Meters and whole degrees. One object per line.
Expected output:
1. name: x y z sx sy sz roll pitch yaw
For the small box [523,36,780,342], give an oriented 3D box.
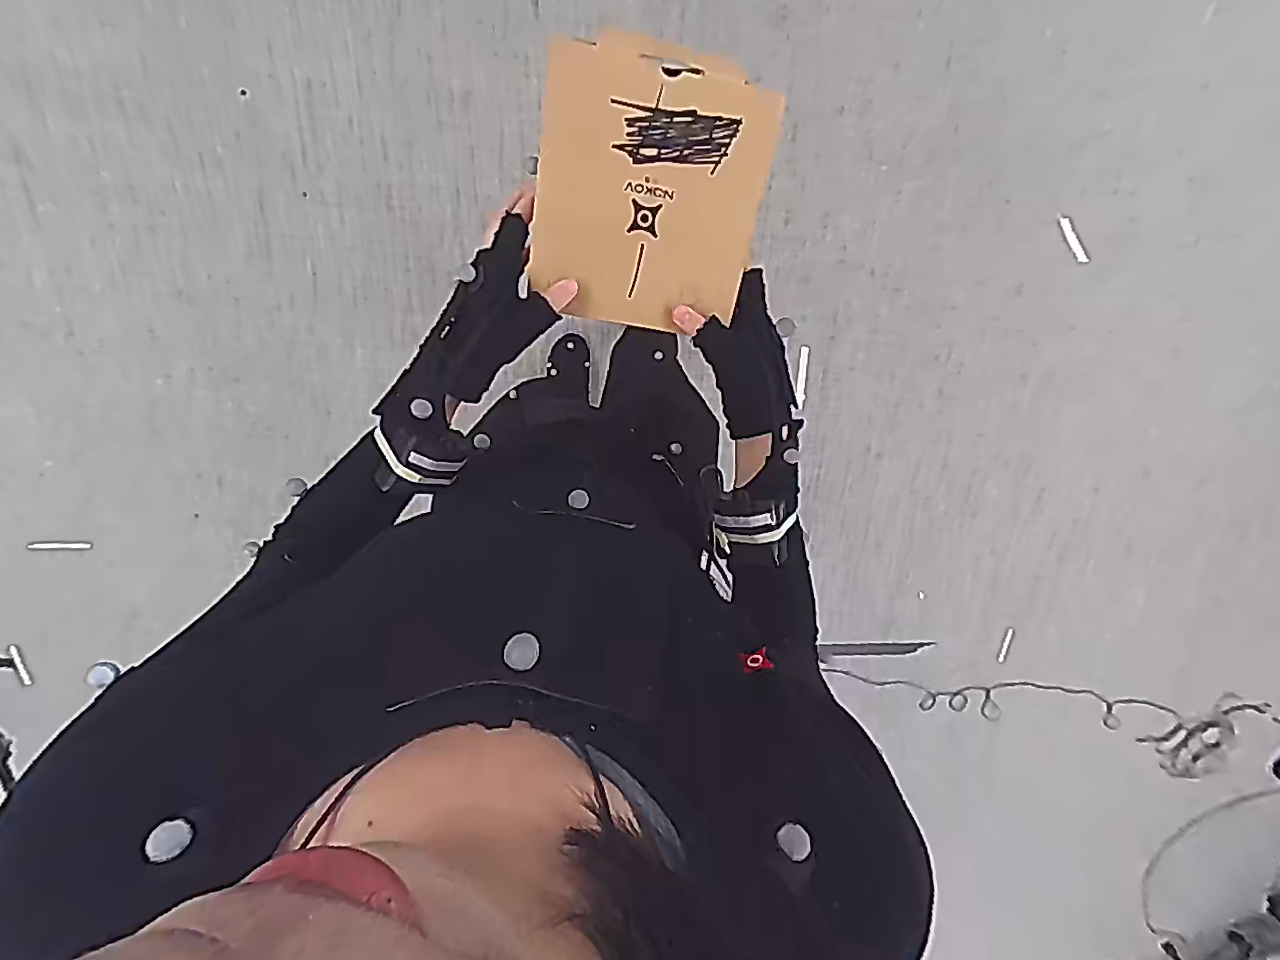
1. small box: -0.003 -0.238 0.472 0.168 0.176 0.179 8 116 -9
